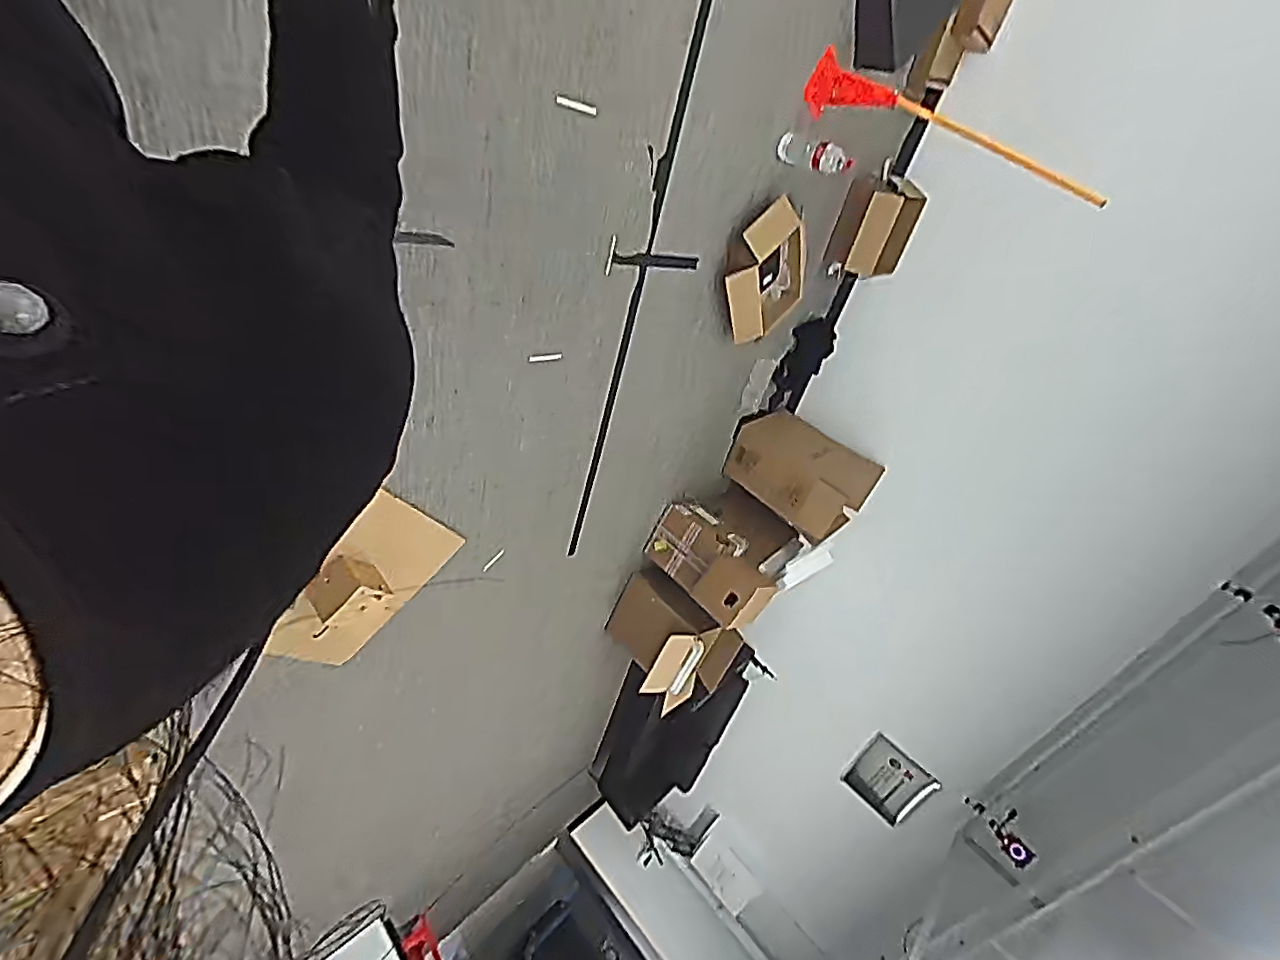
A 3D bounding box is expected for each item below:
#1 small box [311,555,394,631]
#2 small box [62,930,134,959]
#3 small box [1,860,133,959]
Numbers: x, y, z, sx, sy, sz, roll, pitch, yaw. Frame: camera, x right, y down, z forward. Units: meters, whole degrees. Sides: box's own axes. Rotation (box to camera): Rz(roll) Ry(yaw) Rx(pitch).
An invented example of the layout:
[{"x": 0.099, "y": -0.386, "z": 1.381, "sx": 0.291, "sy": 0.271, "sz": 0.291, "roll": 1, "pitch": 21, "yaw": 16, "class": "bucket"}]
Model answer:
[{"x": -1.005, "y": 0.393, "z": 1.878, "sx": 0.179, "sy": 0.176, "sz": 0.168, "roll": -46, "pitch": 150, "yaw": -5, "class": "small box"}, {"x": -1.184, "y": 1.123, "z": 1.152, "sx": 0.168, "sy": 0.176, "sz": 0.179, "roll": -15, "pitch": 135, "yaw": -48, "class": "small box"}, {"x": -1.295, "y": 1.022, "z": 1.223, "sx": 0.179, "sy": 0.176, "sz": 0.168, "roll": -18, "pitch": 138, "yaw": -47, "class": "small box"}]
